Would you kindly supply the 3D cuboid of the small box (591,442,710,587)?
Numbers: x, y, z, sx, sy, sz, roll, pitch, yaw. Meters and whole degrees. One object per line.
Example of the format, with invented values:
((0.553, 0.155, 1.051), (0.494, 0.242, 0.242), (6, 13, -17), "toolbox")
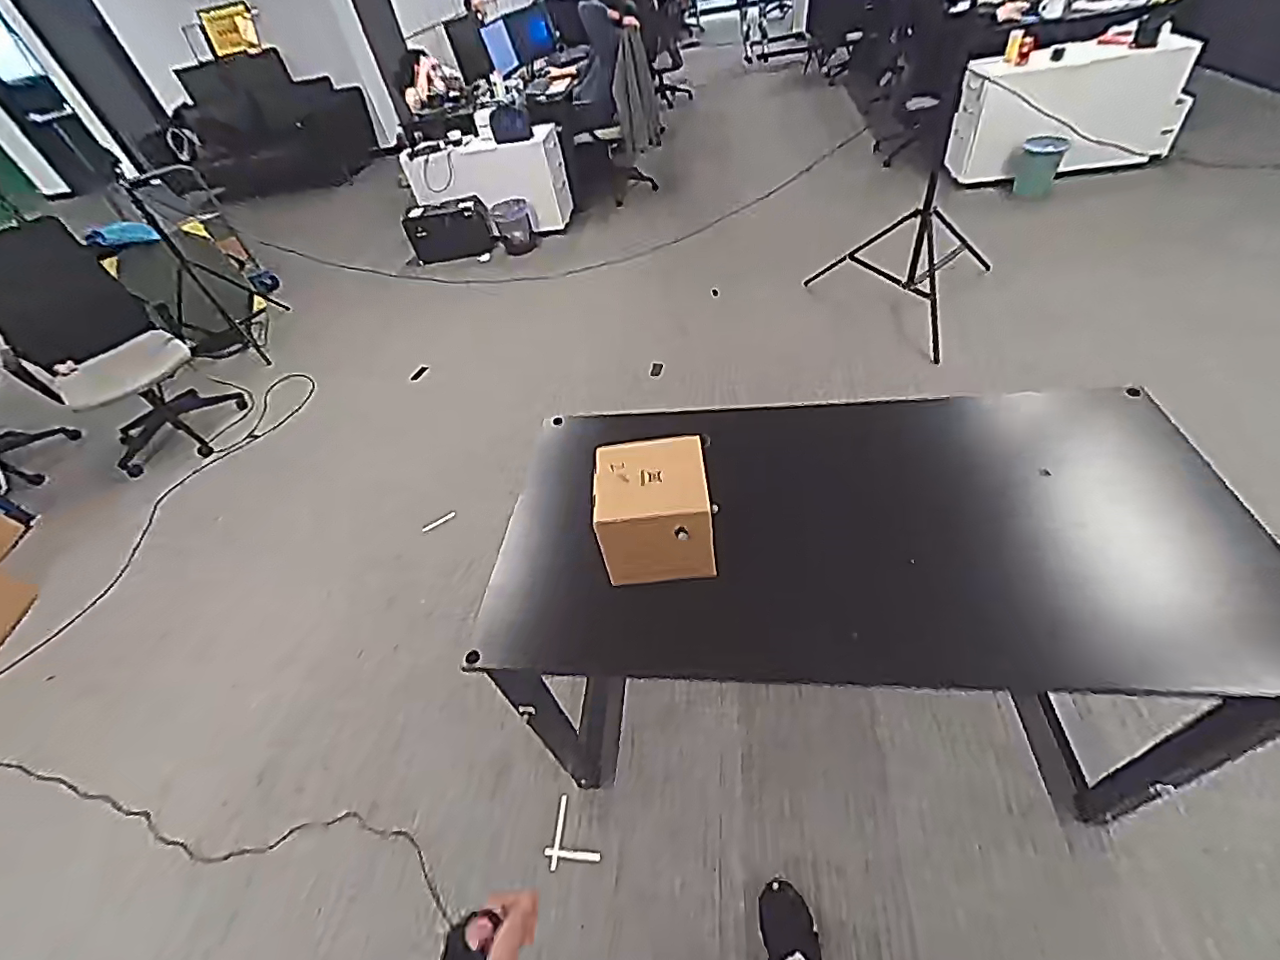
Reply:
((0.023, 0.061, 0.900), (0.179, 0.176, 0.168), (-7, 45, 5), "small box")
